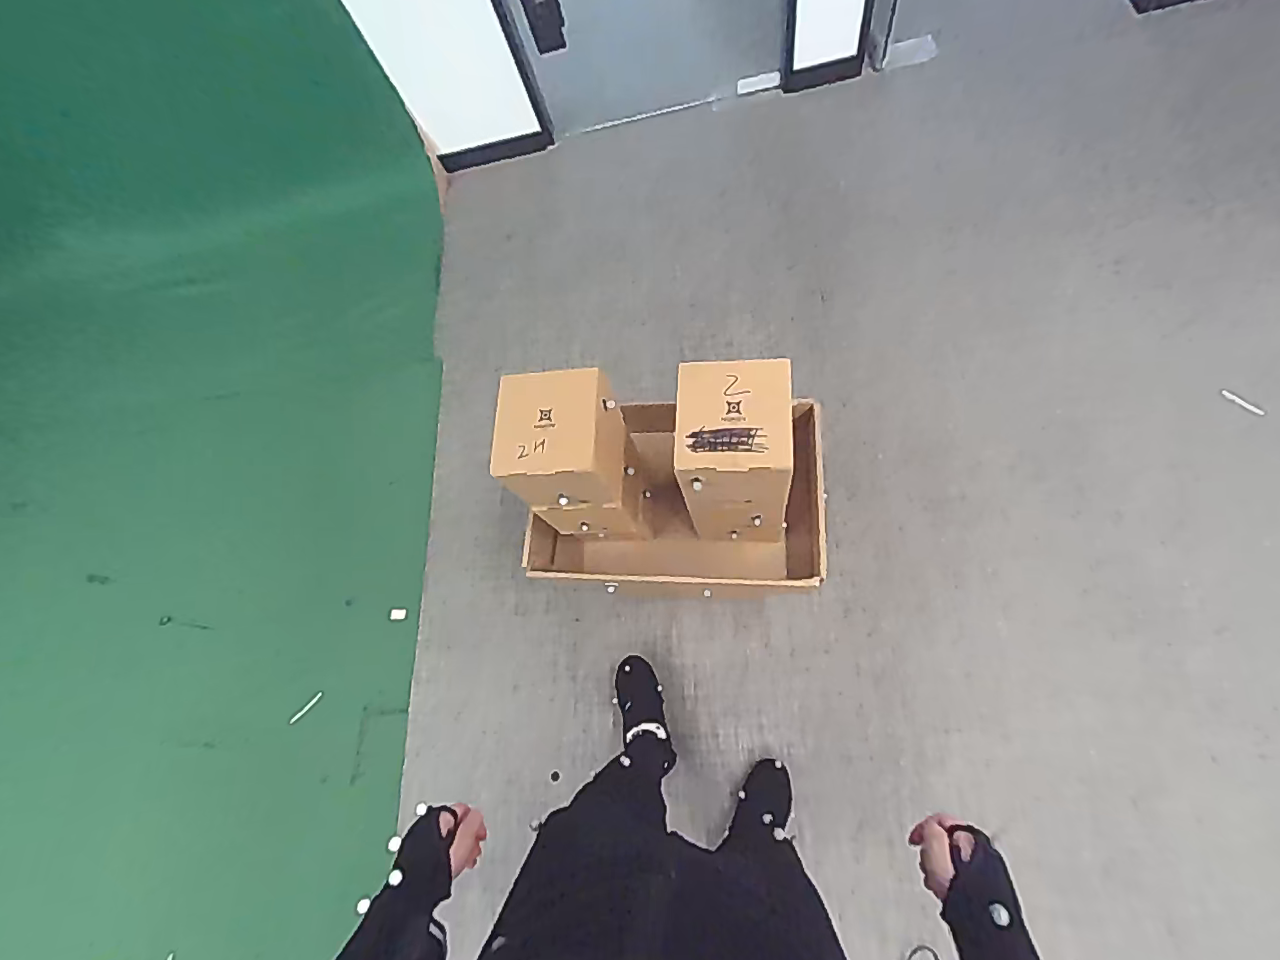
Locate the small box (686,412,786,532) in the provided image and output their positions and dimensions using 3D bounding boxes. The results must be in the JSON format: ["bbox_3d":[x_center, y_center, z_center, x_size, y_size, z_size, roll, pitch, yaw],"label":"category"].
[{"bbox_3d":[0.179,-0.008,0.988,0.168,0.176,0.179,0,69,11],"label":"small box"}]

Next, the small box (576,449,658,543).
[{"bbox_3d":[-0.062,0.042,1.199,0.179,0.176,0.168,-2,70,10],"label":"small box"}]

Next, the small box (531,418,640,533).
[{"bbox_3d":[-0.097,-0.003,1.045,0.168,0.176,0.179,-3,70,11],"label":"small box"}]

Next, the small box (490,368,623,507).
[{"bbox_3d":[-0.127,-0.064,0.896,0.168,0.176,0.179,-2,70,11],"label":"small box"}]
